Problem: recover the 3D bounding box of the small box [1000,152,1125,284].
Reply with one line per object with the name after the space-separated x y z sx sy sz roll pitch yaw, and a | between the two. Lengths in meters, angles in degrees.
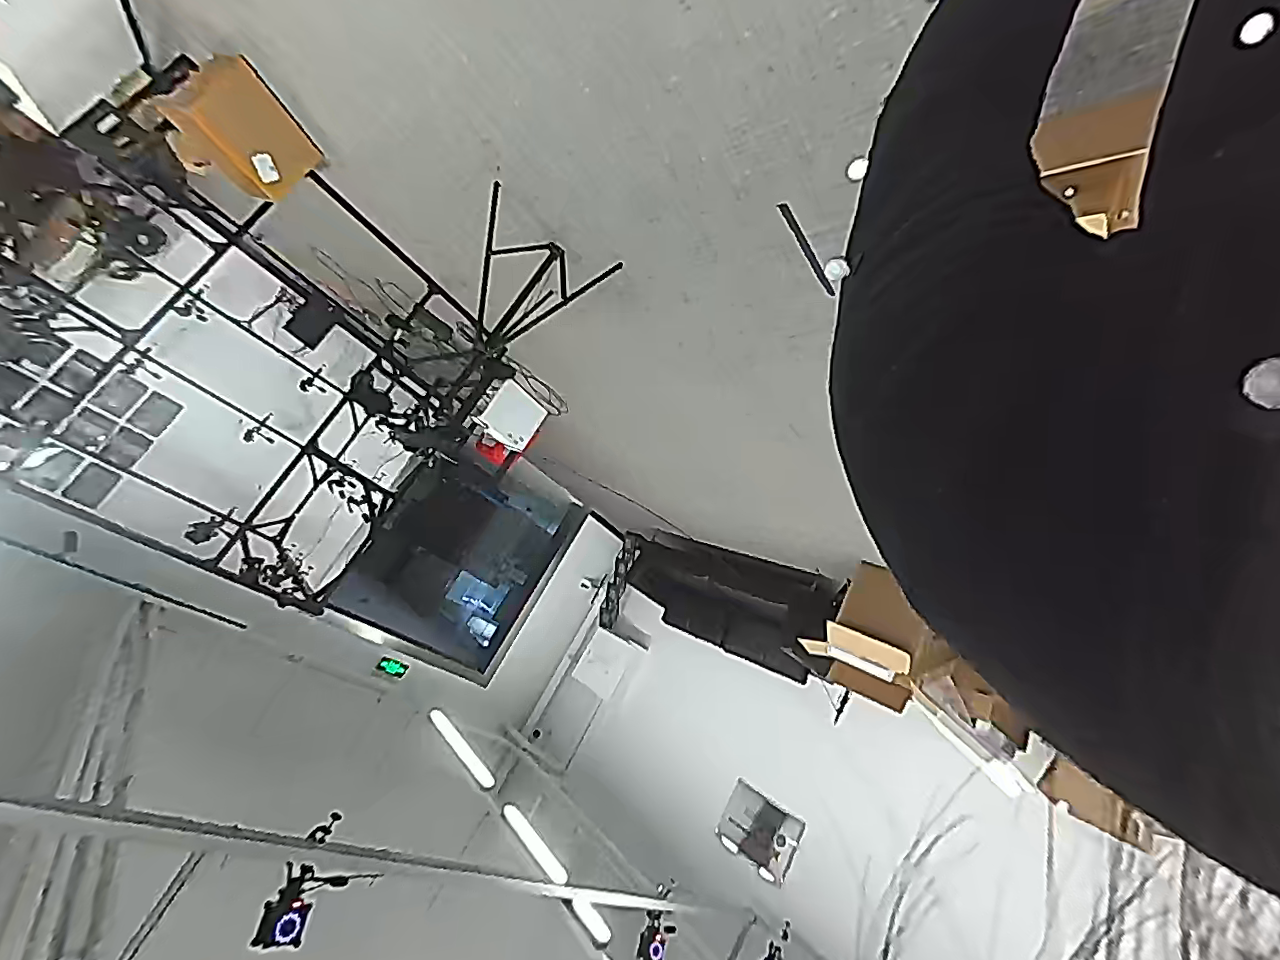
0.873 -0.536 1.115 0.179 0.176 0.168 11 156 45 | small box
